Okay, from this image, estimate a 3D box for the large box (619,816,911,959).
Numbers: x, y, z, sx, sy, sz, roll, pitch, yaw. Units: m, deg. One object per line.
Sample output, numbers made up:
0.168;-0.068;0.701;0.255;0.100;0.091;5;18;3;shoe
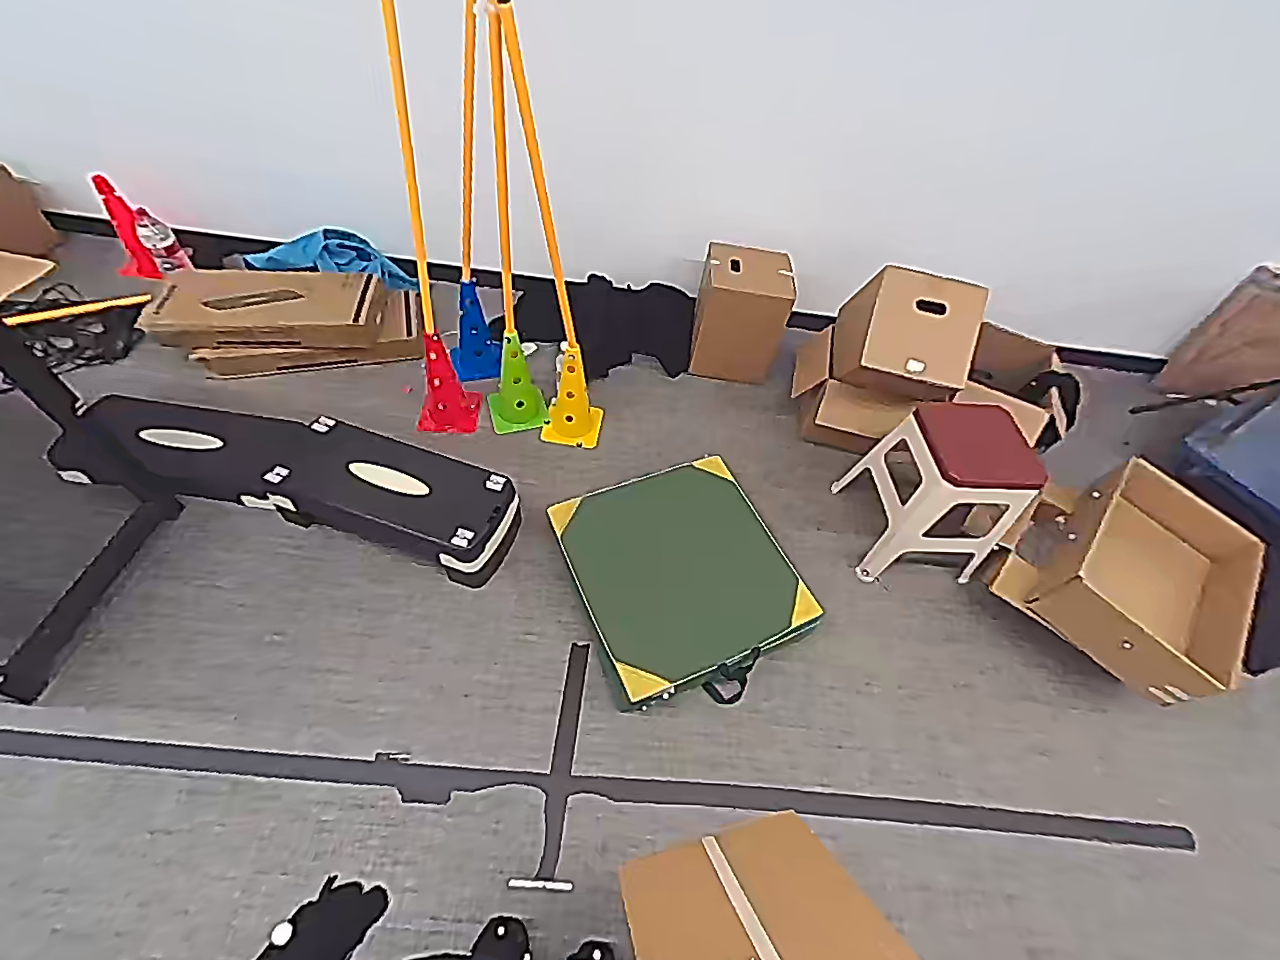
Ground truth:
0.180;0.742;0.705;0.320;0.408;0.320;-12;91;-11;large box
